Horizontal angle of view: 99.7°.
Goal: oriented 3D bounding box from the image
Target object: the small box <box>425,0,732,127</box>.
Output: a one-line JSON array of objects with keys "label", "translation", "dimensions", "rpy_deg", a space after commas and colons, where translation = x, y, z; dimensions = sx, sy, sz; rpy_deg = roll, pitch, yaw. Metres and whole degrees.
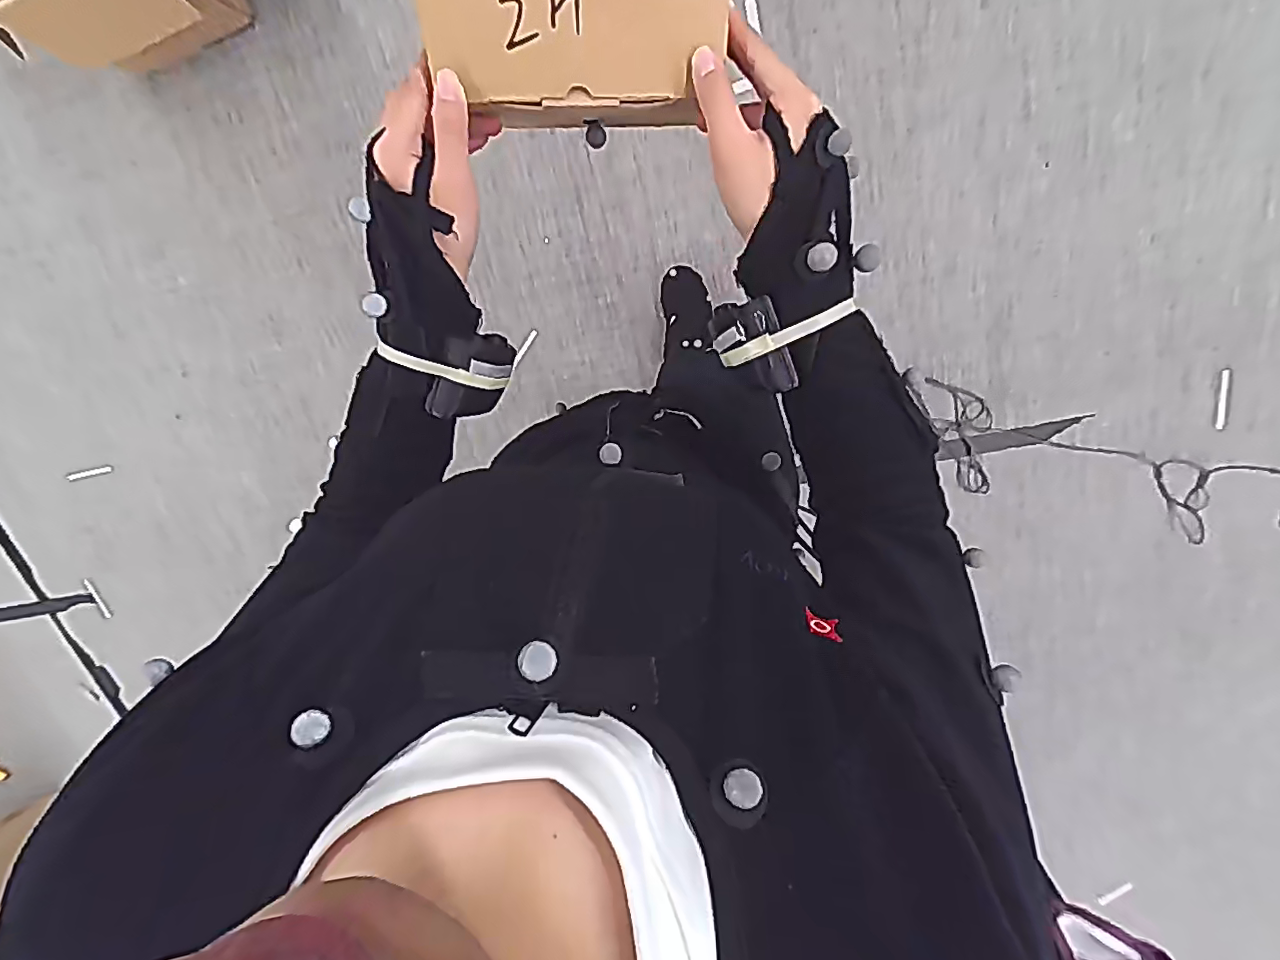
[{"label": "small box", "translation": [-0.032, -0.334, 0.336], "dimensions": [0.168, 0.176, 0.179], "rpy_deg": [0, 118, 1]}]
